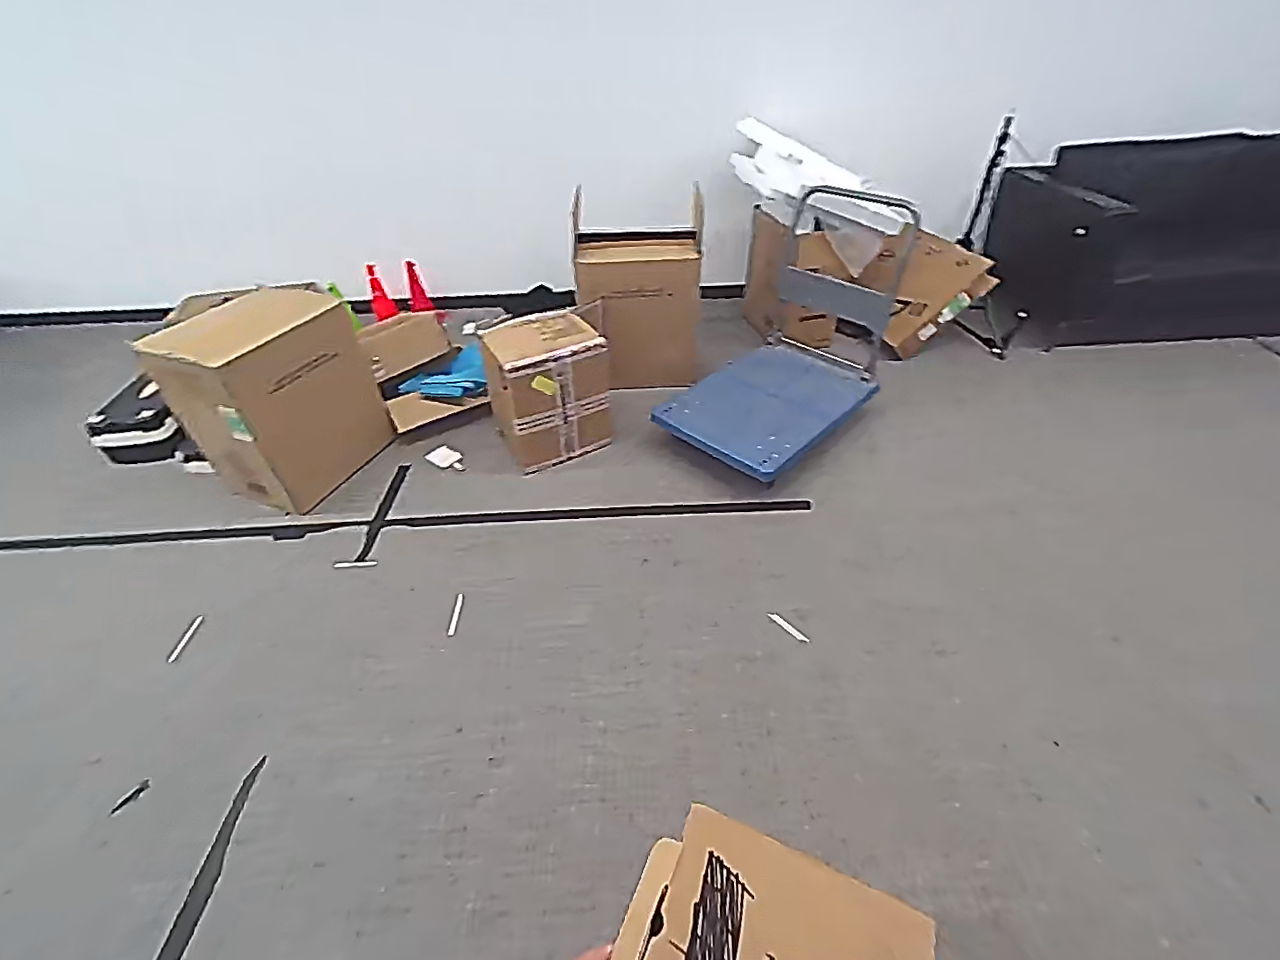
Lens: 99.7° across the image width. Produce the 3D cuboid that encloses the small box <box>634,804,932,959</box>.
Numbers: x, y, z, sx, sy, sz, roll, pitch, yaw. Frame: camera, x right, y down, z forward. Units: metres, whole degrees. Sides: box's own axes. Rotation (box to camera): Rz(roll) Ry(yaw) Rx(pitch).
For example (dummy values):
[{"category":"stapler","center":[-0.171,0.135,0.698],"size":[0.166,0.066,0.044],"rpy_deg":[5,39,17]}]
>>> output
[{"category":"small box","center":[0.085,0.382,0.390],"size":[0.179,0.176,0.168],"rpy_deg":[17,43,18]}]
